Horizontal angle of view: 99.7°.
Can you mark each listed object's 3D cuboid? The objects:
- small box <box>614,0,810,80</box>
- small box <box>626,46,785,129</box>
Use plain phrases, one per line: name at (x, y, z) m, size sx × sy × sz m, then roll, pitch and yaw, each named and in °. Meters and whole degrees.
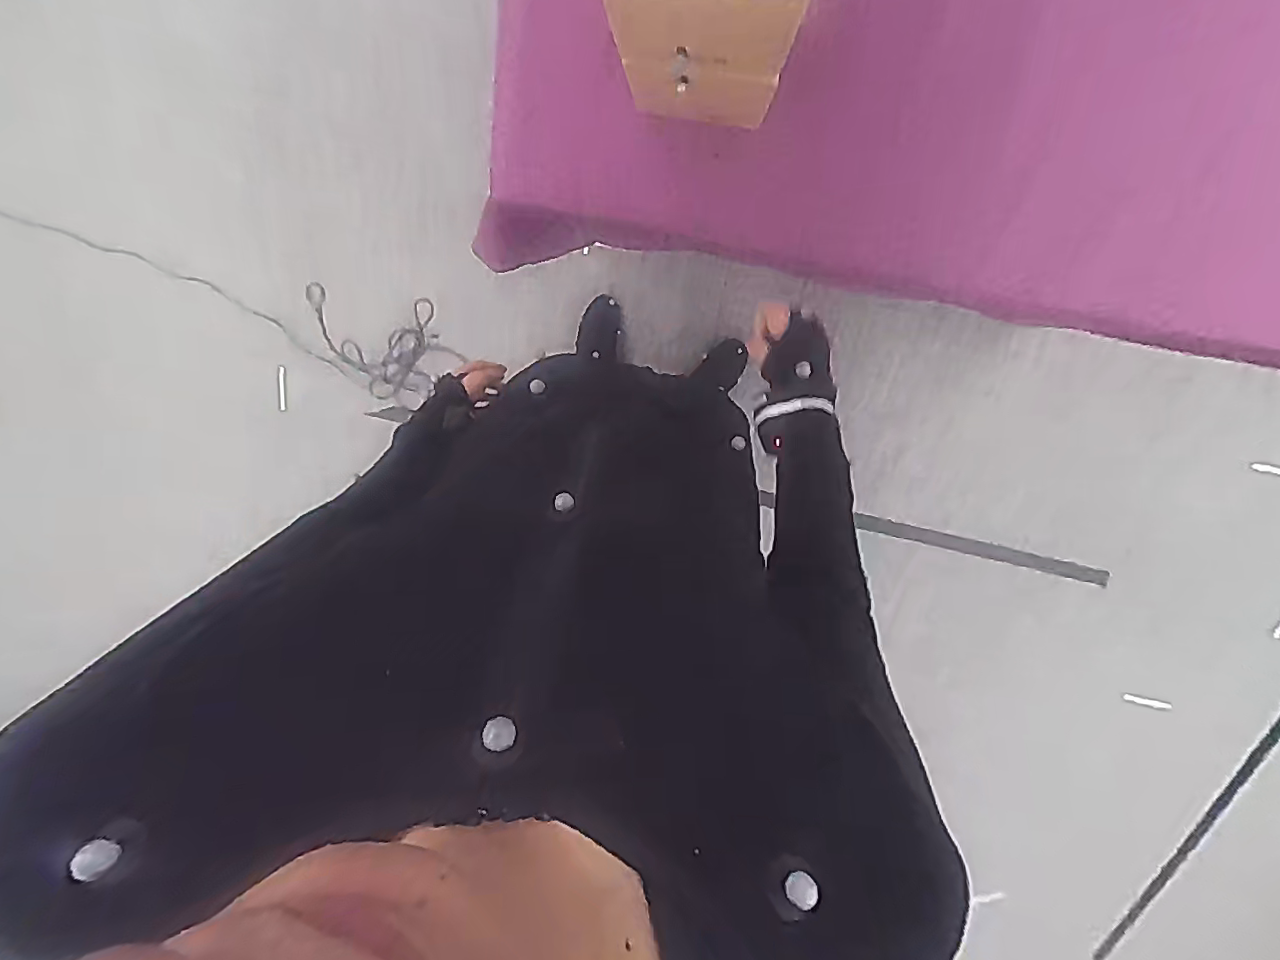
small box at (0.065, -0.477, 0.452) m, size 0.168 × 0.176 × 0.179 m, roll 9°, pitch 110°, yaw 2°
small box at (0.084, -0.528, 0.607) m, size 0.168 × 0.176 × 0.179 m, roll 10°, pitch 110°, yaw 2°
